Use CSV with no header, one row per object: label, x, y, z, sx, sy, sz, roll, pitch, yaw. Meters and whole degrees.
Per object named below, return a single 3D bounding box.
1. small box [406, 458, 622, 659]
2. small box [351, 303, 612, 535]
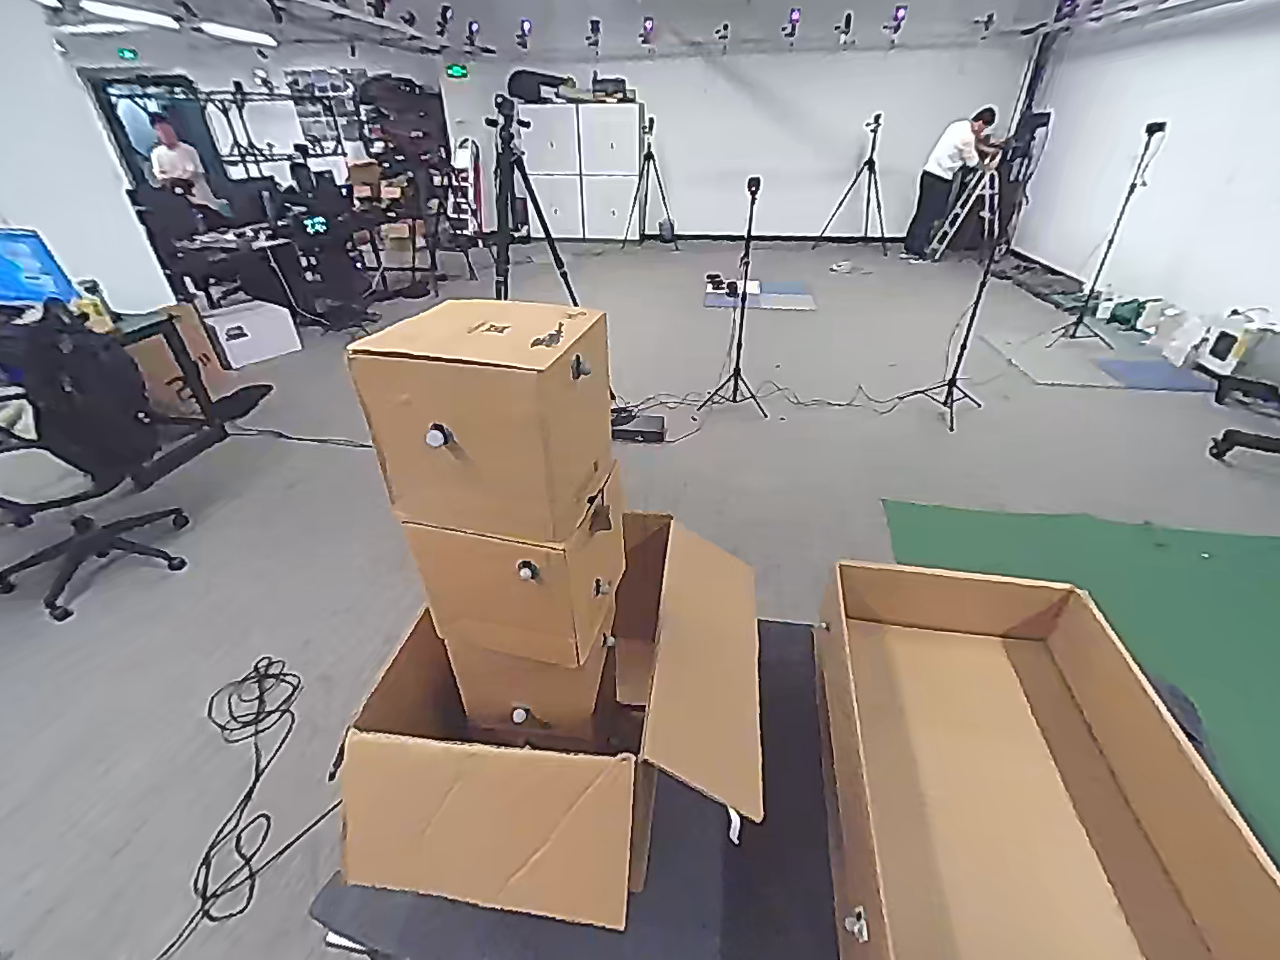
small box,-0.125,0.076,0.613,0.179,0.176,0.168,8,35,12
small box,-0.133,-0.064,0.528,0.179,0.176,0.168,7,35,11
